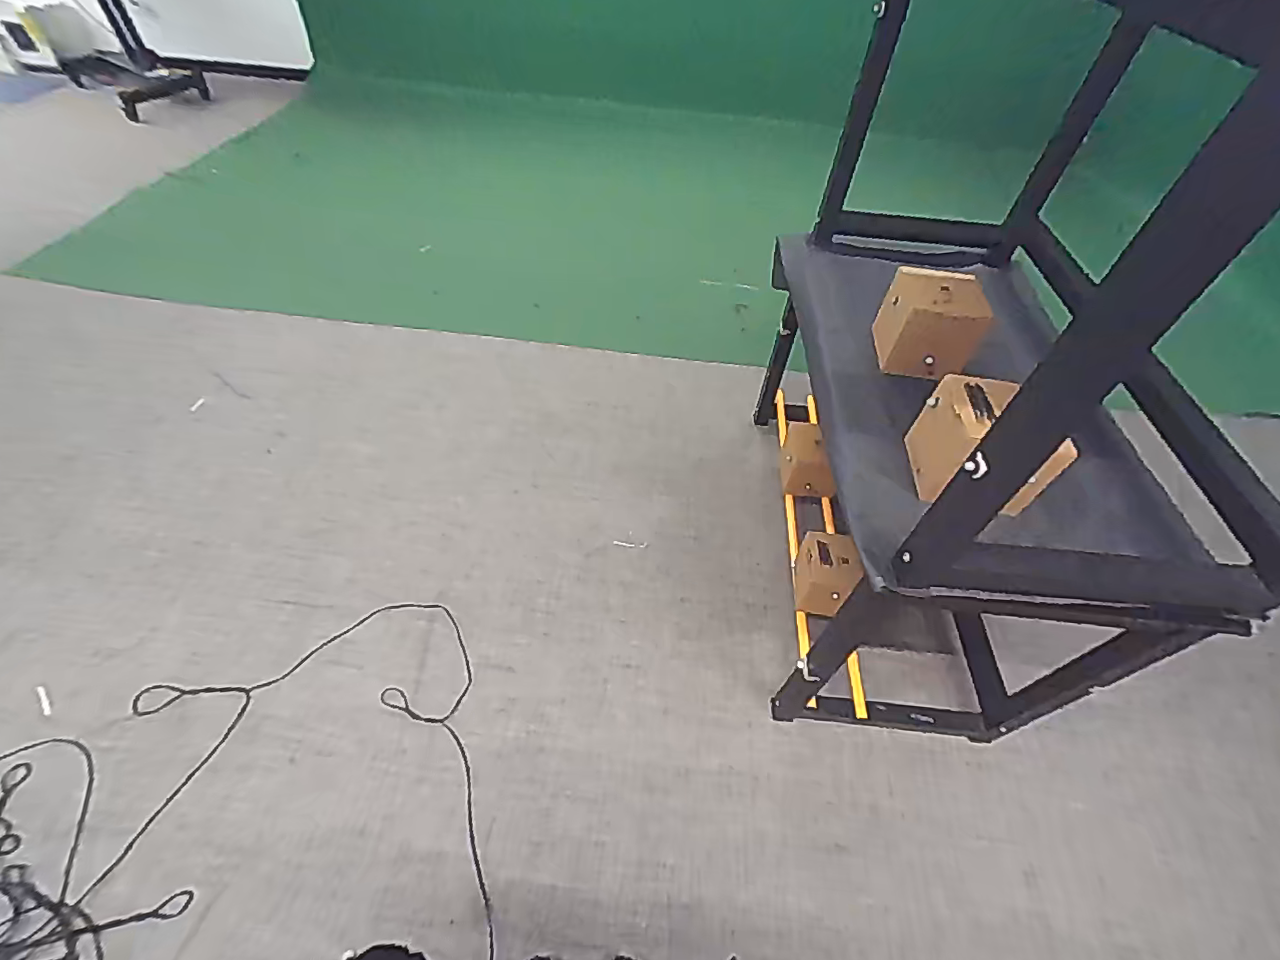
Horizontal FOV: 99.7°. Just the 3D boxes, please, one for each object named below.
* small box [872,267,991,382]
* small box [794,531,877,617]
[{"bbox_3d":[0.639,-0.348,1.212,0.168,0.176,0.179,8,50,3],"label":"small box"},{"bbox_3d":[0.532,0.265,1.504,0.179,0.176,0.168,8,50,3],"label":"small box"}]
